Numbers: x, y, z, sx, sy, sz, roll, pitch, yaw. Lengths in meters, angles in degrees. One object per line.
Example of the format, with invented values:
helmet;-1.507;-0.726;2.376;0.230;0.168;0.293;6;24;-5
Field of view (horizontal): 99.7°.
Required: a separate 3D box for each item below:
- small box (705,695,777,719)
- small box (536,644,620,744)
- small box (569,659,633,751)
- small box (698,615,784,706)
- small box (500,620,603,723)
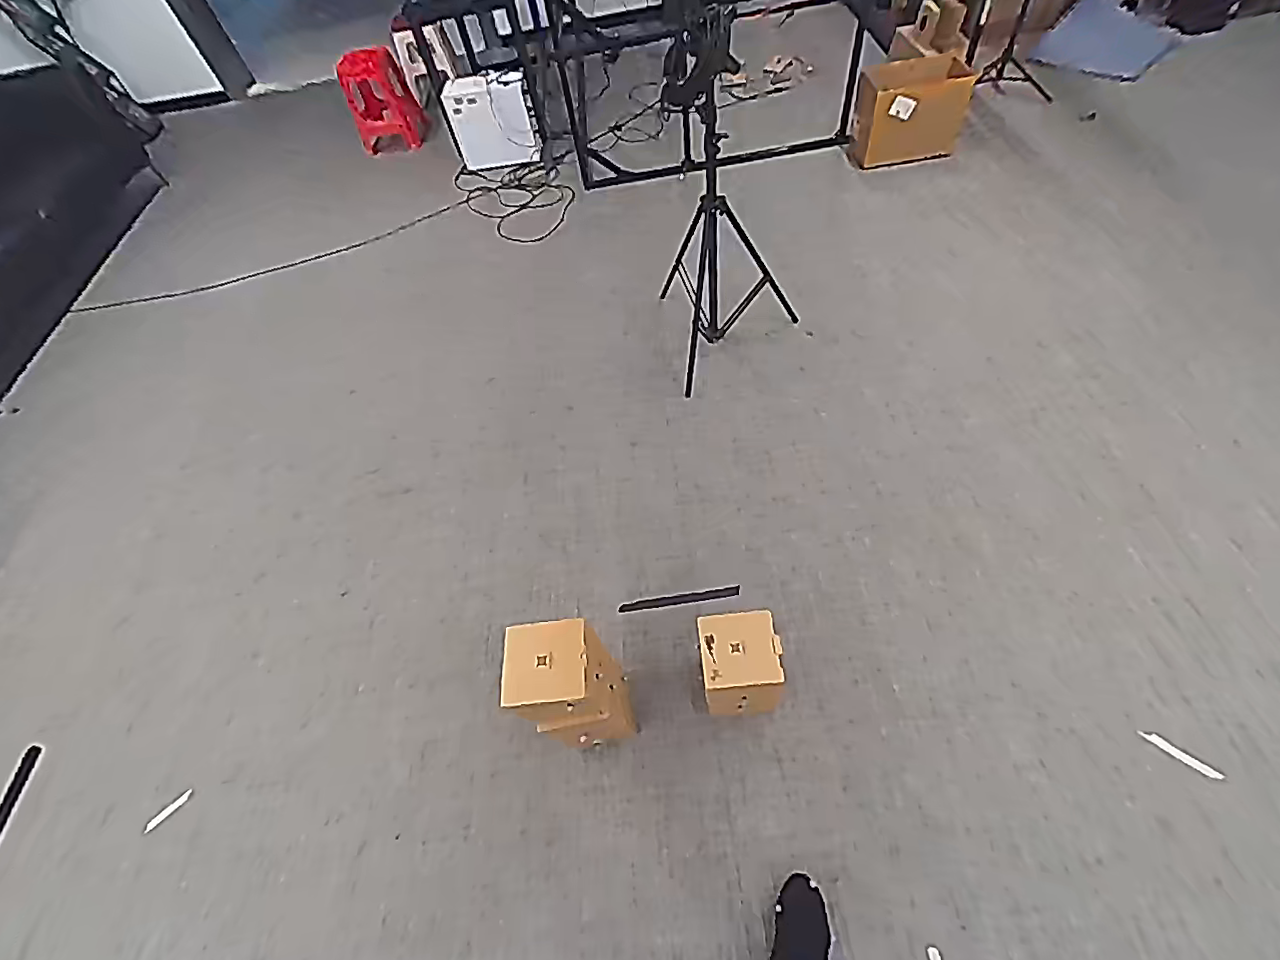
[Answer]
small box;0.252;0.523;1.424;0.179;0.176;0.168;-7;56;3
small box;-0.150;0.514;1.296;0.168;0.176;0.179;-12;56;2
small box;-0.121;0.598;1.433;0.168;0.176;0.179;-14;56;0
small box;0.232;0.432;1.289;0.179;0.176;0.168;-6;56;4
small box;-0.184;0.418;1.169;0.179;0.176;0.168;-8;56;4
